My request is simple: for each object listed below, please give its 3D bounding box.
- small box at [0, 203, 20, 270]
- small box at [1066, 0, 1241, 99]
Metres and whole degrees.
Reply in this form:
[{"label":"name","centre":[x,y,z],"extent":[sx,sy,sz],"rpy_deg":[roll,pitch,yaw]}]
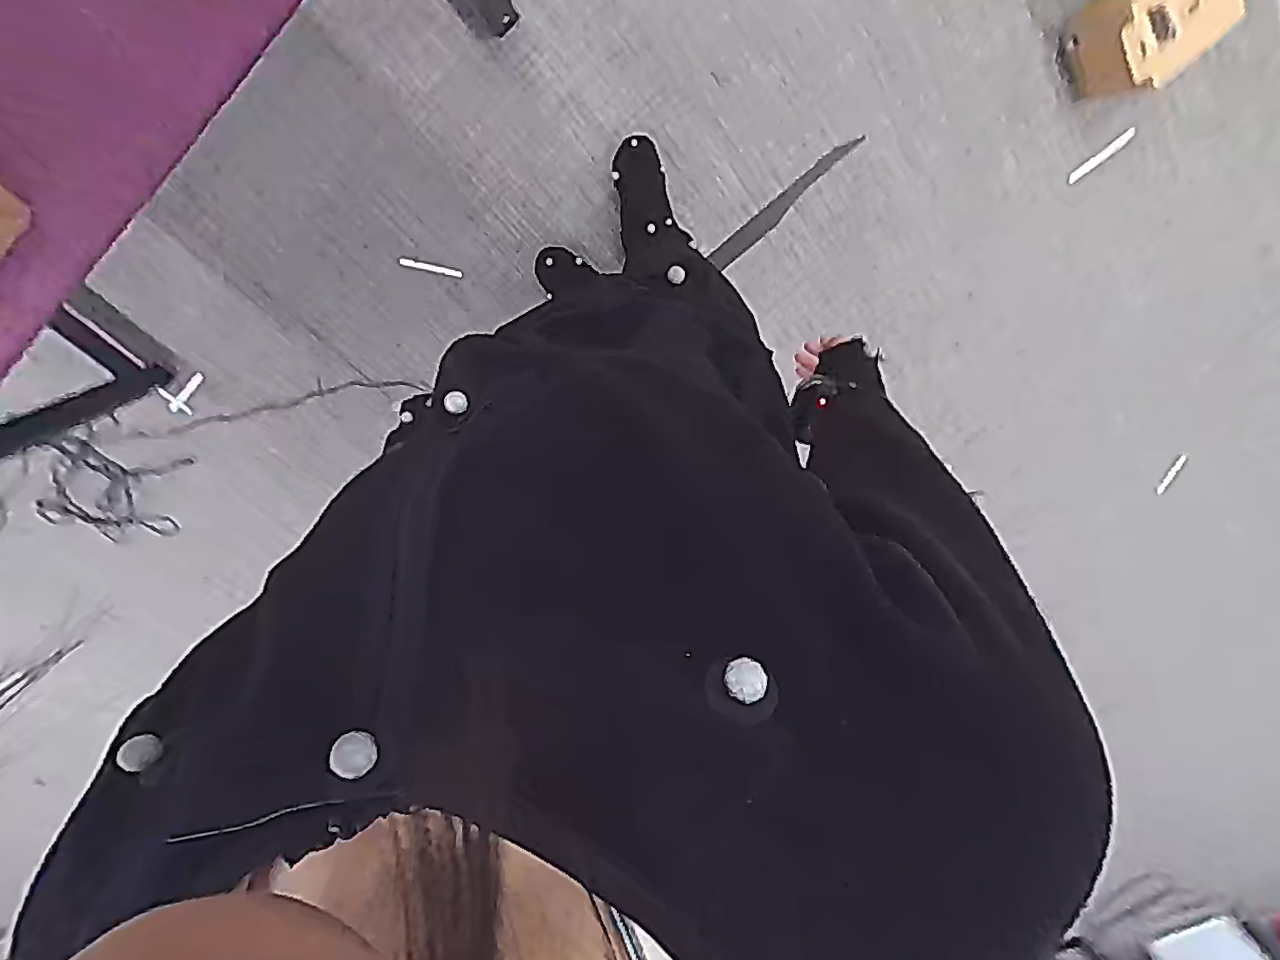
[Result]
[{"label":"small box","centre":[-0.689,-0.218,0.436],"extent":[0.179,0.176,0.168],"rpy_deg":[-36,115,14]},{"label":"small box","centre":[0.980,-0.887,1.052],"extent":[0.179,0.176,0.168],"rpy_deg":[-39,115,15]}]
